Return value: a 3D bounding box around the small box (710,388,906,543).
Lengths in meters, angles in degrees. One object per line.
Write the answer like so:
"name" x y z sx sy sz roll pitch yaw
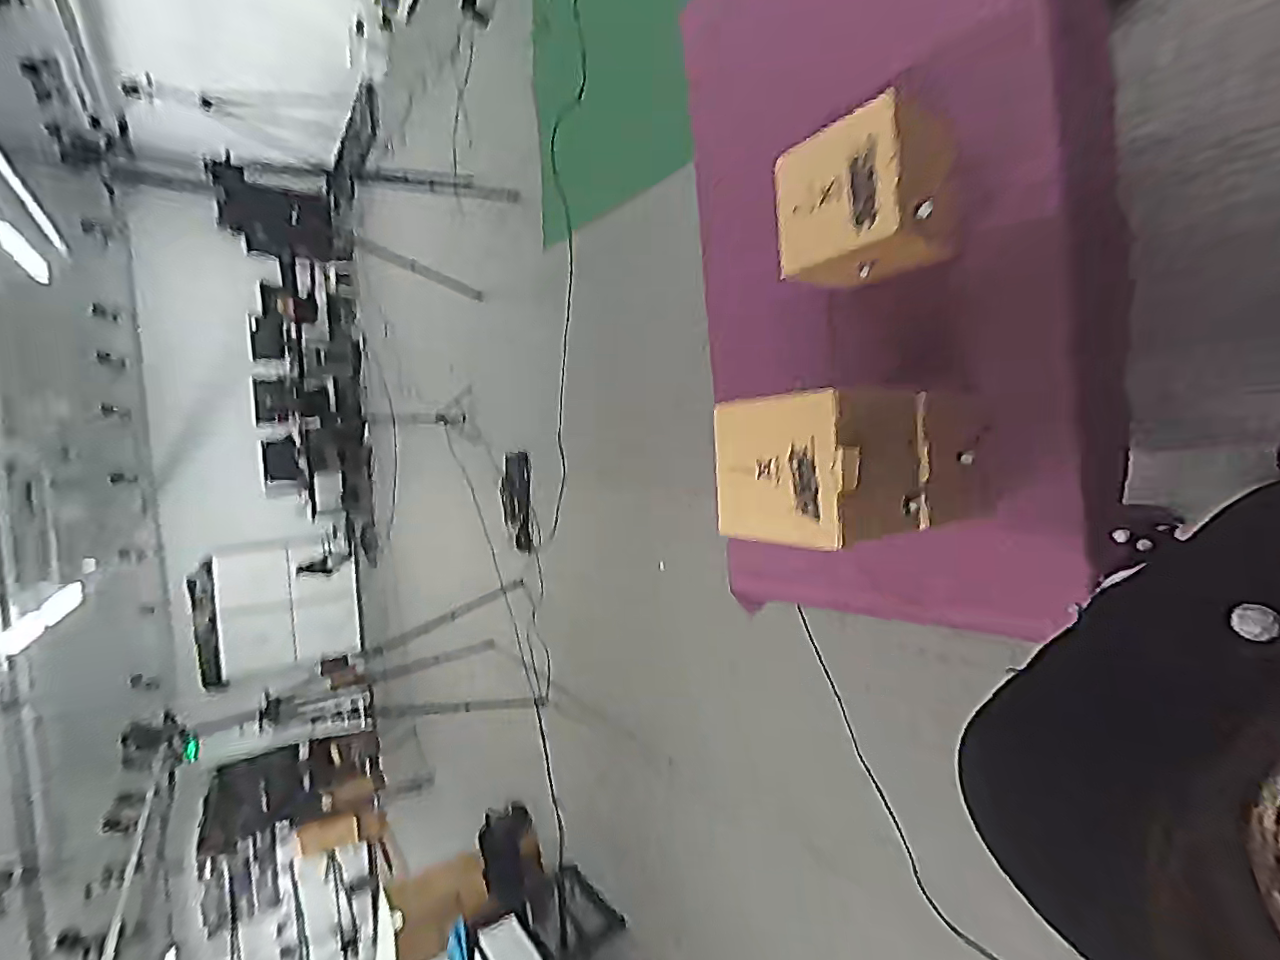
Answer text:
"small box" 0.210 -0.025 0.671 0.179 0.176 0.168 2 97 53

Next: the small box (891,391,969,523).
"small box" 0.345 -0.036 0.766 0.179 0.176 0.168 1 95 52
